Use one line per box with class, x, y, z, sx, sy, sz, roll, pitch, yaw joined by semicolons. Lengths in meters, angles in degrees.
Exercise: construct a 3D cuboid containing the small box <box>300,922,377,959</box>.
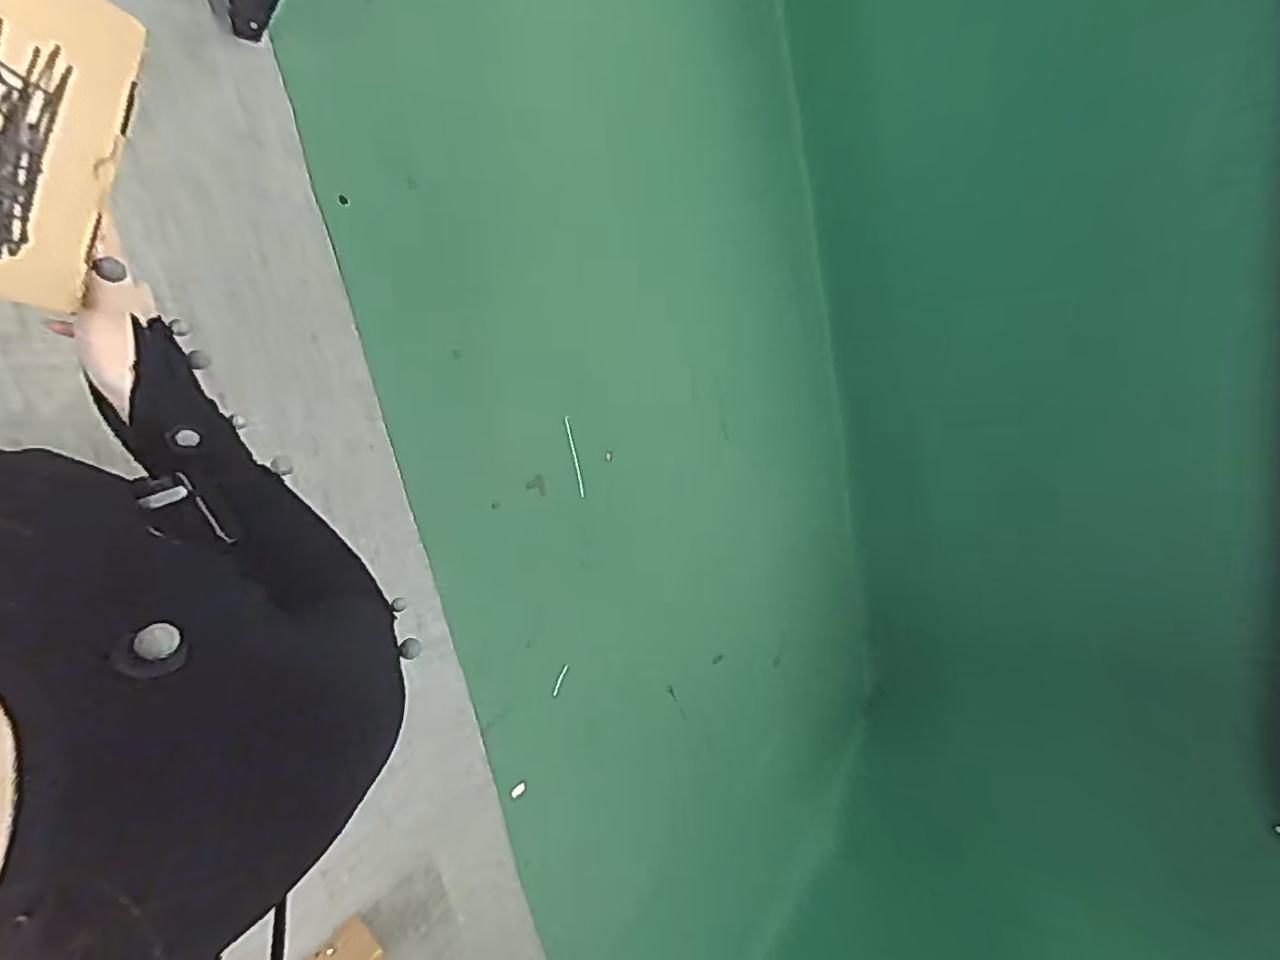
small box;-0.742;1.260;1.337;0.168;0.176;0.179;-30;111;-45
